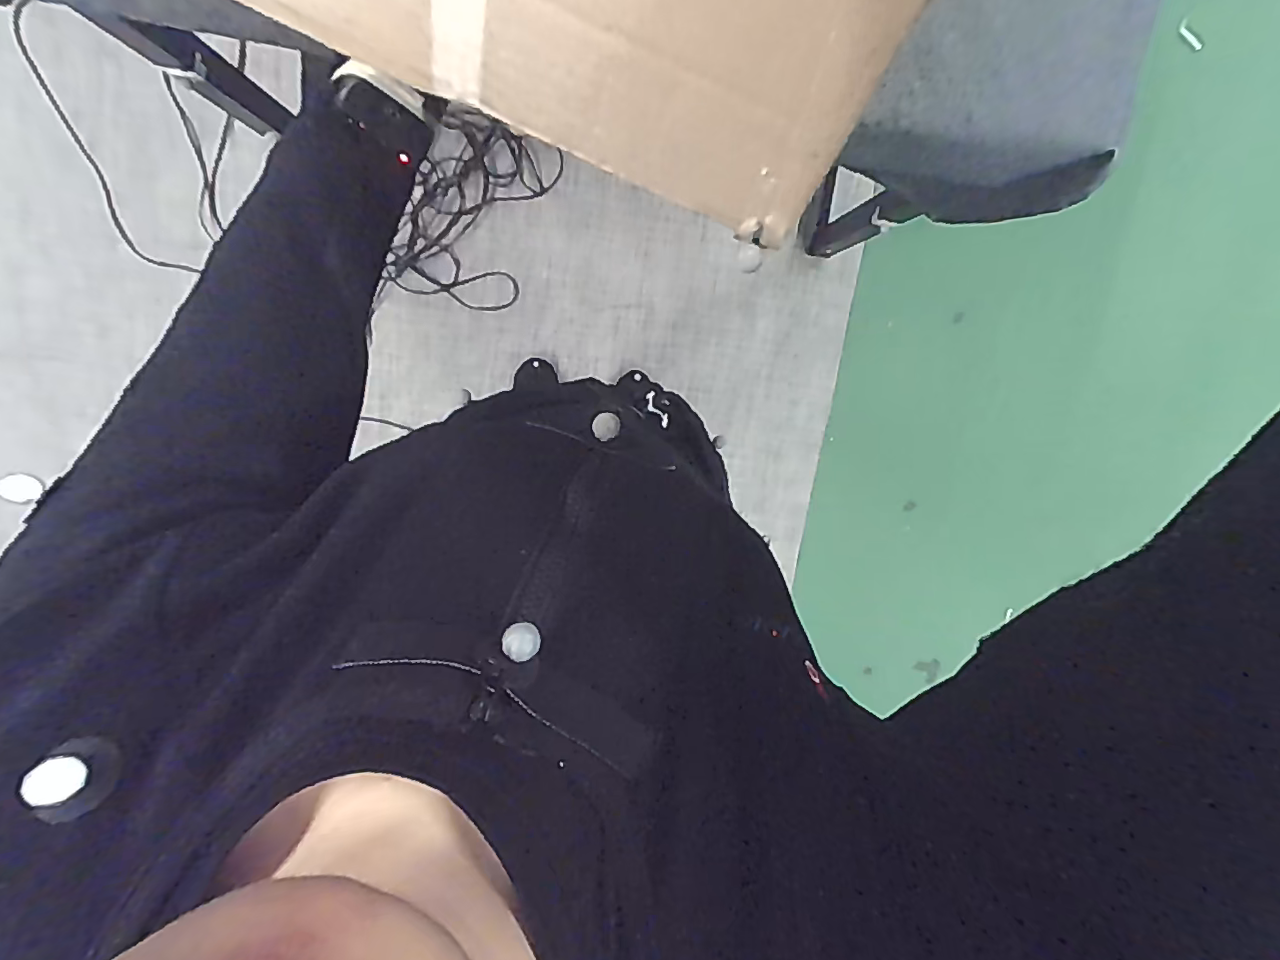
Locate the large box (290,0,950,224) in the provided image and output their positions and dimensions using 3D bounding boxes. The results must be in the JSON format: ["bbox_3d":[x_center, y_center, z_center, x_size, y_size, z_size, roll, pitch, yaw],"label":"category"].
[{"bbox_3d":[0.035,-0.400,0.185,0.320,0.320,0.408,22,144,-6],"label":"large box"}]
